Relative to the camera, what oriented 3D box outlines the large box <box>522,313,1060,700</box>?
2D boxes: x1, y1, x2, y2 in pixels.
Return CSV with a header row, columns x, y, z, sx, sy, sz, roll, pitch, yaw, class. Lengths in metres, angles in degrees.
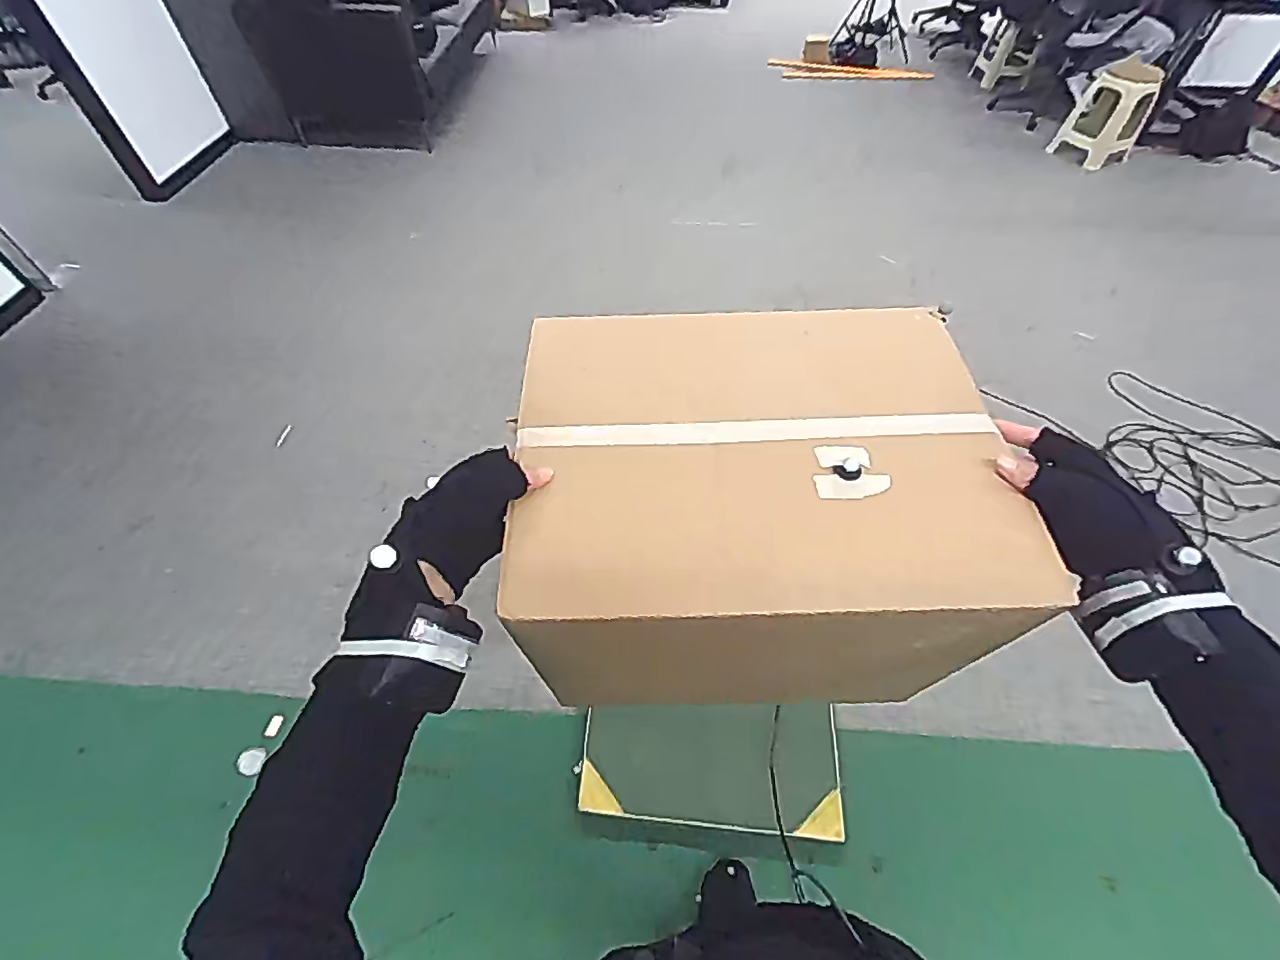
x,y,z,sx,sy,sz,roll,pitch,yaw,class
0.105,0.043,0.596,0.408,0.320,0.320,-1,57,0,large box
